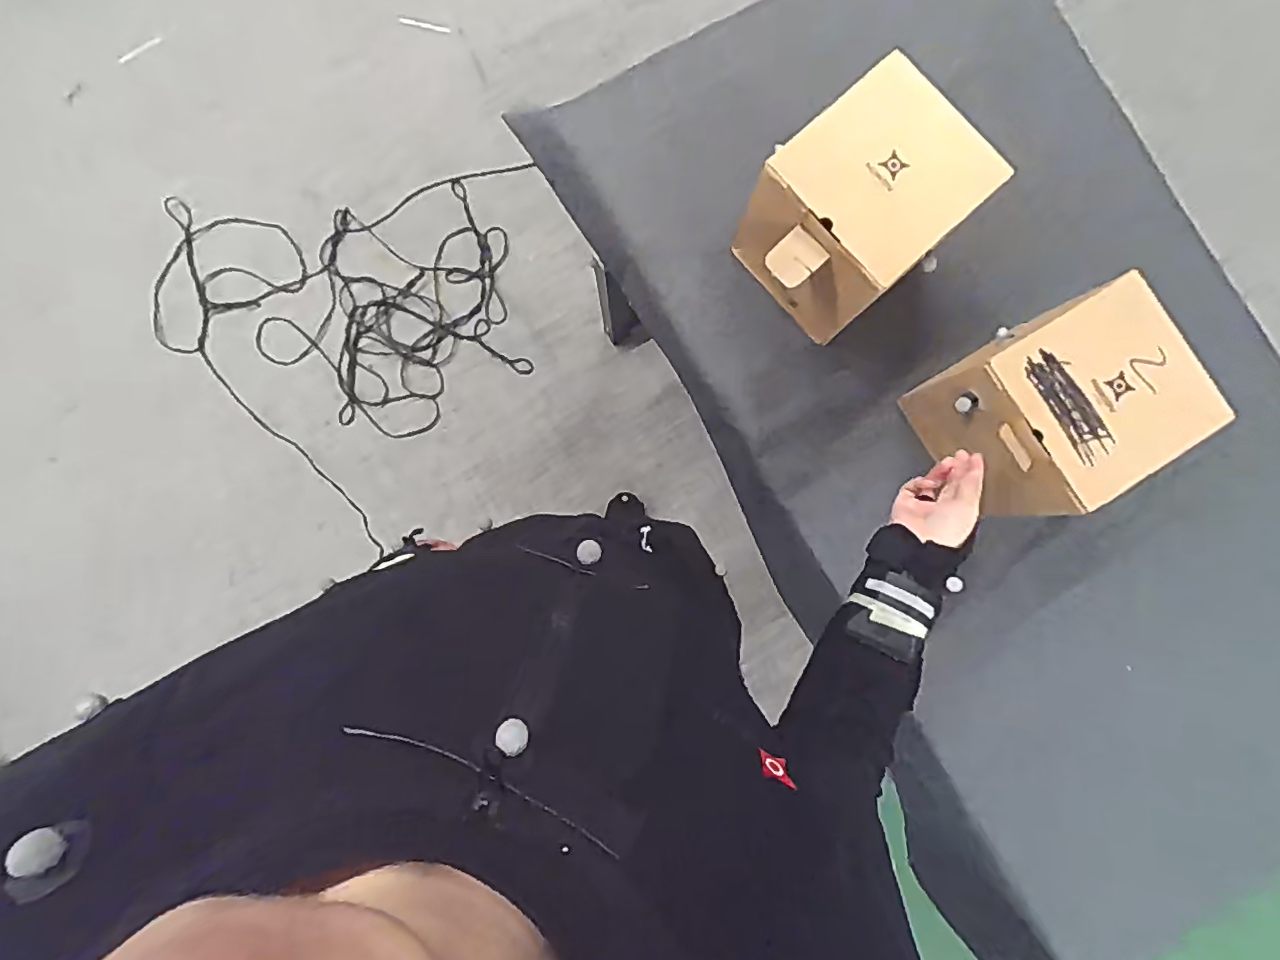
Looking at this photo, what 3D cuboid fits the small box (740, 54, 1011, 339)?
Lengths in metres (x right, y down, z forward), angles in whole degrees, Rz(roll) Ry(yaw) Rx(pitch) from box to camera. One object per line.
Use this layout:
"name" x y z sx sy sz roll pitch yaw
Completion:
"small box" 0.234 -0.287 0.588 0.179 0.176 0.168 -42 89 -3
